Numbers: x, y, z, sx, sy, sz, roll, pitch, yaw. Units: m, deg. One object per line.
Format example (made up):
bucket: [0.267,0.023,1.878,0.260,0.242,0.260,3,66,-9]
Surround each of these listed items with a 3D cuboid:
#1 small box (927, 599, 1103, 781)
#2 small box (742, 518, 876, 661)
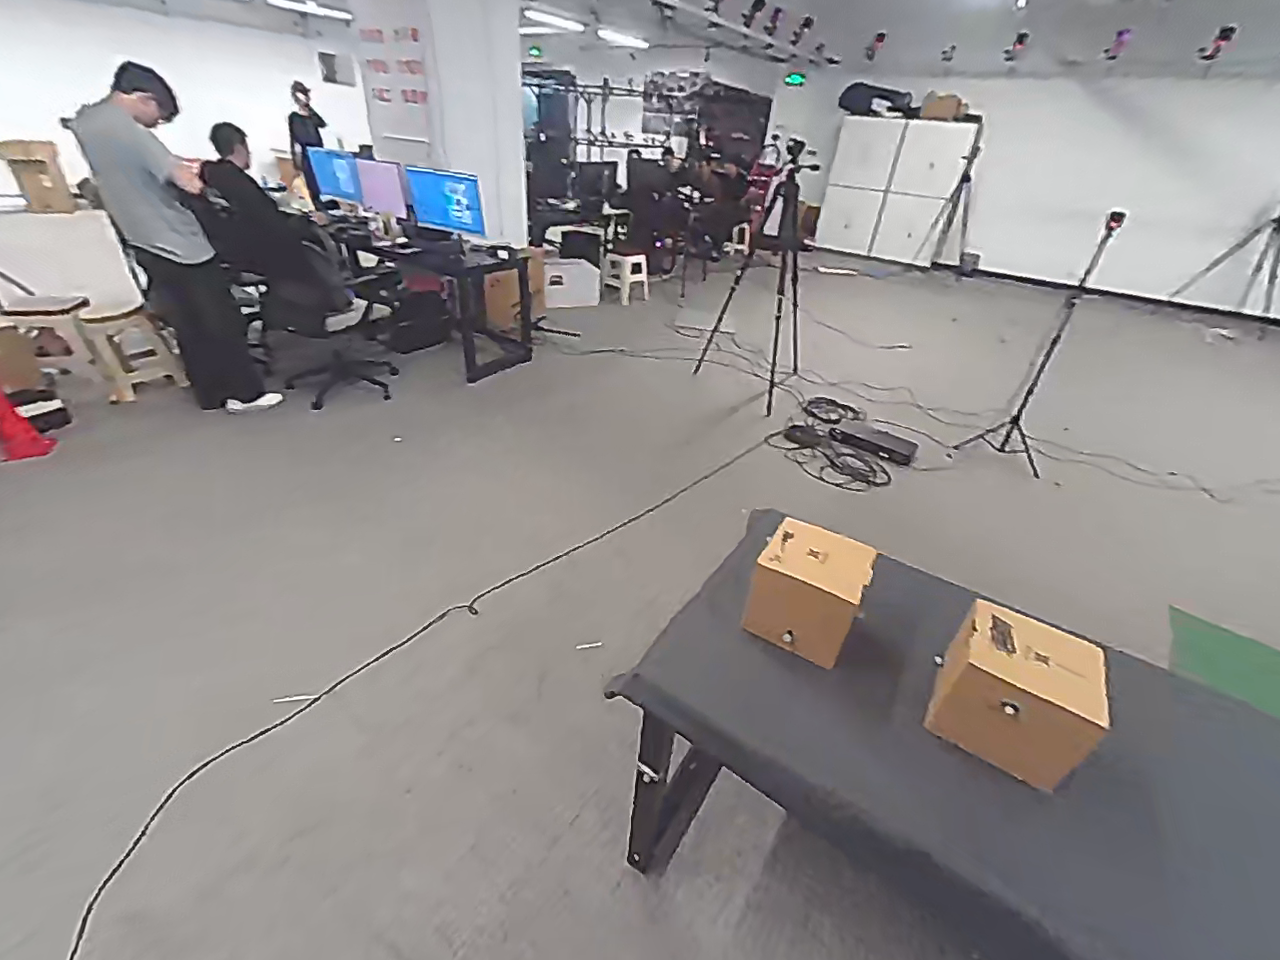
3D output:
small box: [0.580,0.328,0.852,0.179,0.176,0.168,24,37,26]
small box: [0.311,0.205,1.008,0.179,0.176,0.168,22,37,24]
